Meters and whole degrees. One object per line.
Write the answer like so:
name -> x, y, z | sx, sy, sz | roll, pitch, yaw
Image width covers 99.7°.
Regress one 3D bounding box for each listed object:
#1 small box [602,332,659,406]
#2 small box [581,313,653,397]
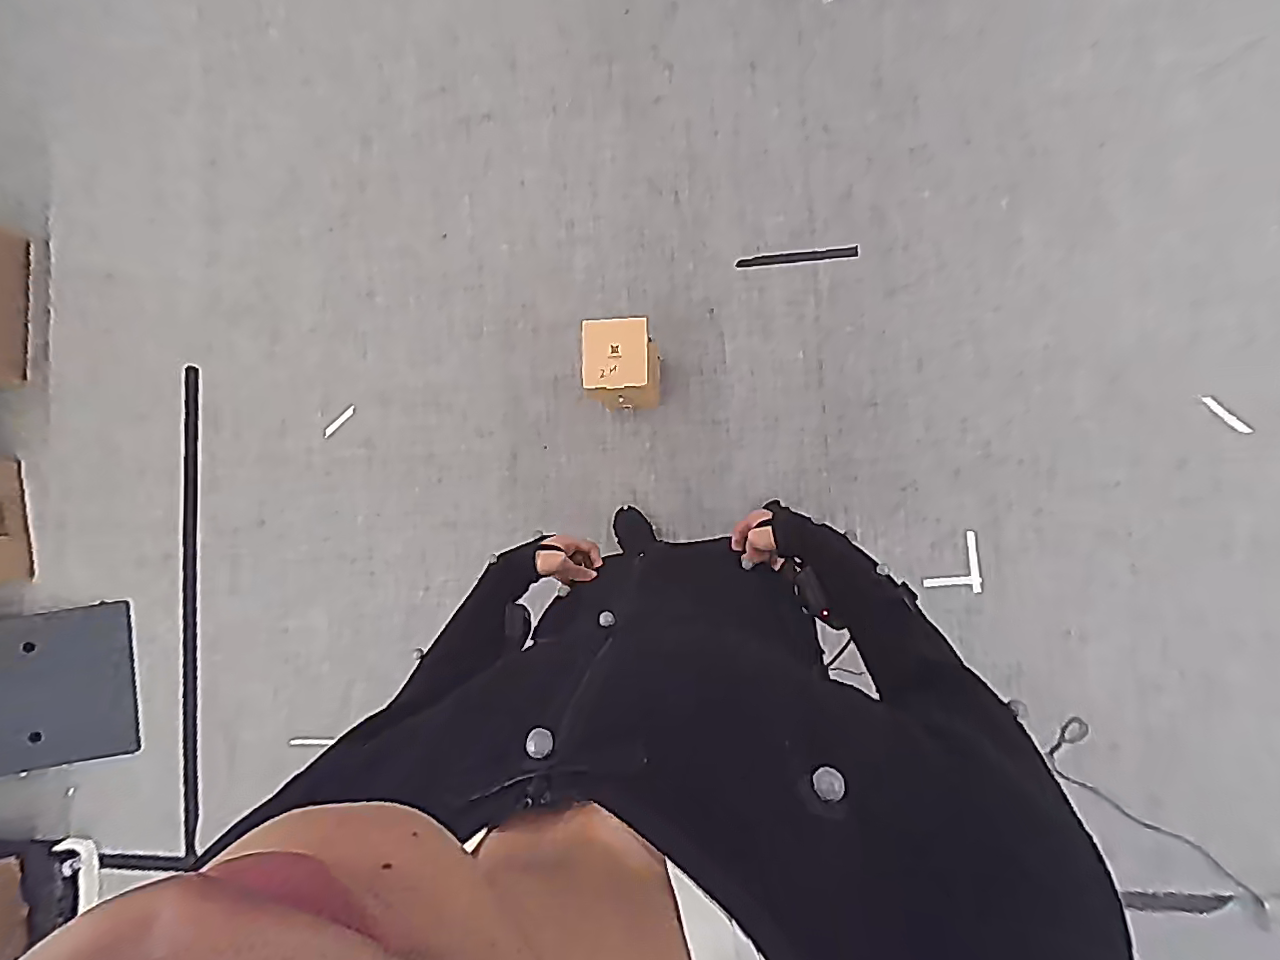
small box -> -0.033, -0.317, 1.574 | 0.168, 0.176, 0.179 | 0, 87, 7
small box -> -0.057, -0.321, 1.412 | 0.168, 0.176, 0.179 | -1, 88, 7
